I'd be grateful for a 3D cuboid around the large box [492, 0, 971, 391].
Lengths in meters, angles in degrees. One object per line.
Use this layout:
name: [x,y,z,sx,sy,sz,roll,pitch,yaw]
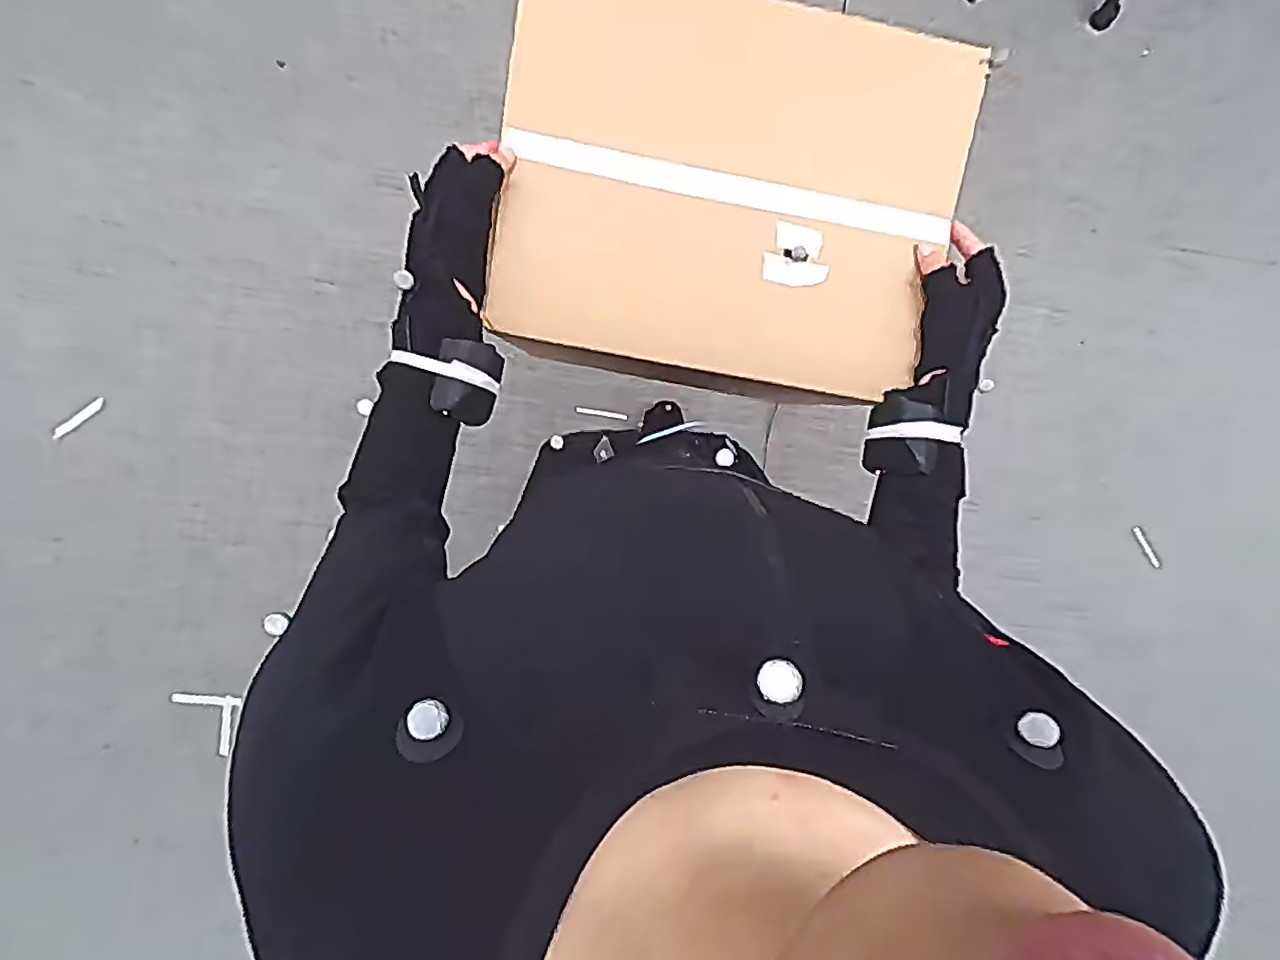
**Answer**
large box: [0.070,-0.290,0.636,0.408,0.320,0.320,9,99,-5]
